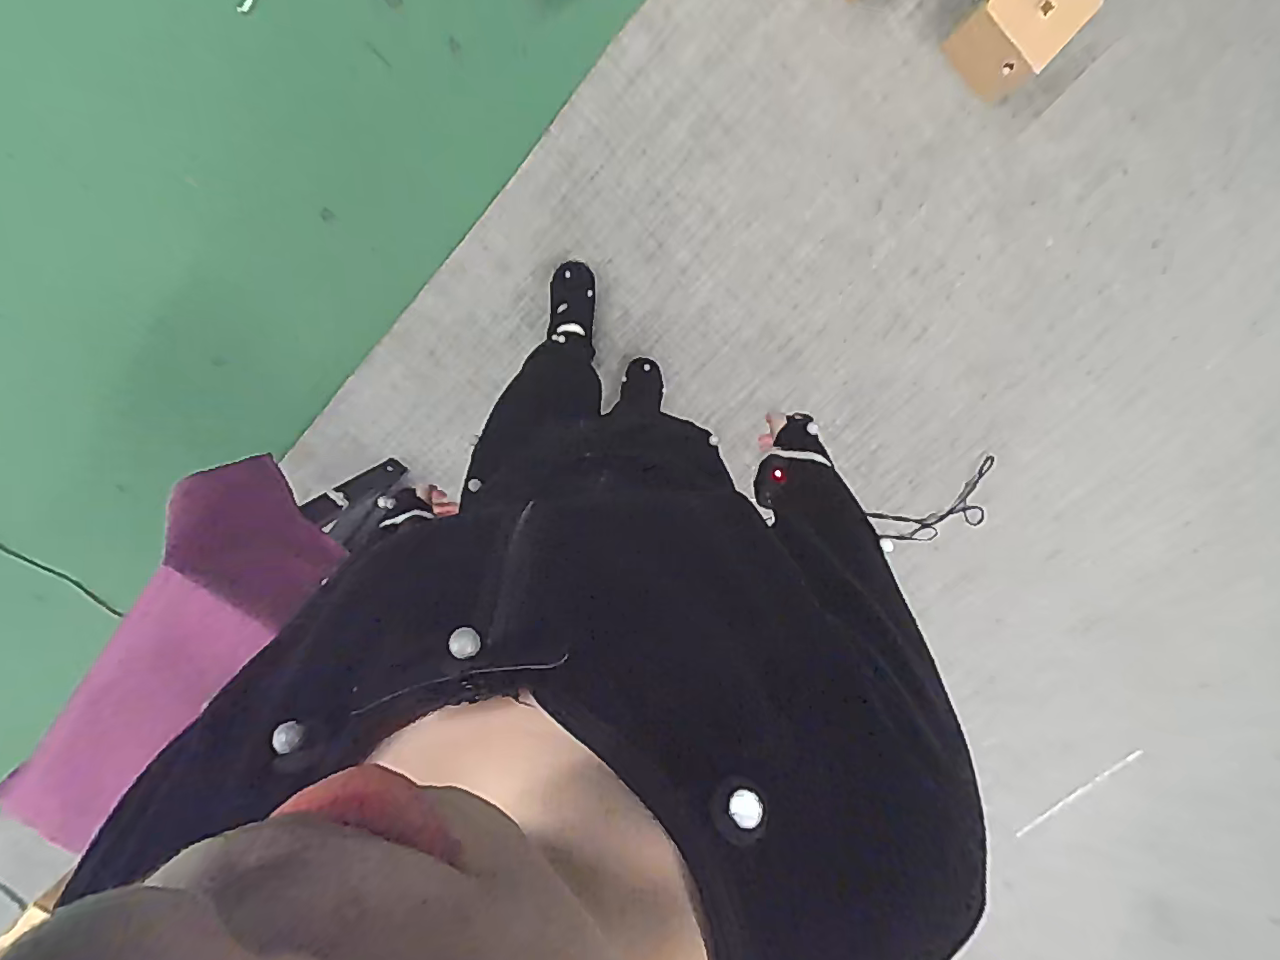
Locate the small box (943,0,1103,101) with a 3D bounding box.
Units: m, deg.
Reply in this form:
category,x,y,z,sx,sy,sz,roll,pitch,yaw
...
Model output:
category,x,y,z,sx,sy,sz,roll,pitch,yaw
small box,0.789,-0.941,1.132,0.179,0.176,0.168,41,102,-10
